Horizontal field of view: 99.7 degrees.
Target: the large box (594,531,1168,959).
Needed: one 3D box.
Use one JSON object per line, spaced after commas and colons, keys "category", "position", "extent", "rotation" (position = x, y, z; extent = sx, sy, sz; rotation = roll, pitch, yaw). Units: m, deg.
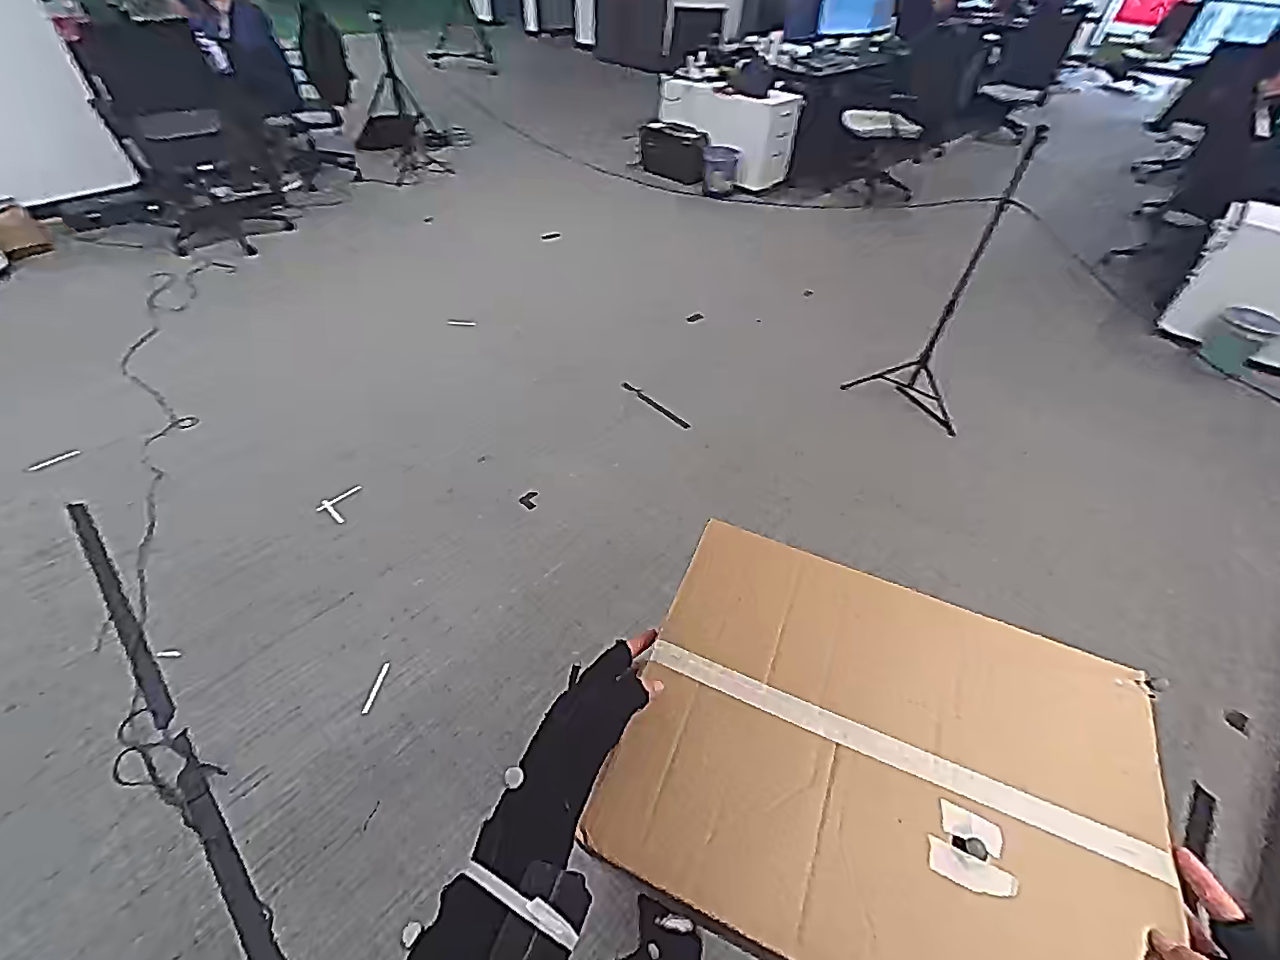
{"category": "large box", "position": [0.200, 0.314, 0.568], "extent": [0.408, 0.320, 0.320], "rotation": [19, 55, 14]}
